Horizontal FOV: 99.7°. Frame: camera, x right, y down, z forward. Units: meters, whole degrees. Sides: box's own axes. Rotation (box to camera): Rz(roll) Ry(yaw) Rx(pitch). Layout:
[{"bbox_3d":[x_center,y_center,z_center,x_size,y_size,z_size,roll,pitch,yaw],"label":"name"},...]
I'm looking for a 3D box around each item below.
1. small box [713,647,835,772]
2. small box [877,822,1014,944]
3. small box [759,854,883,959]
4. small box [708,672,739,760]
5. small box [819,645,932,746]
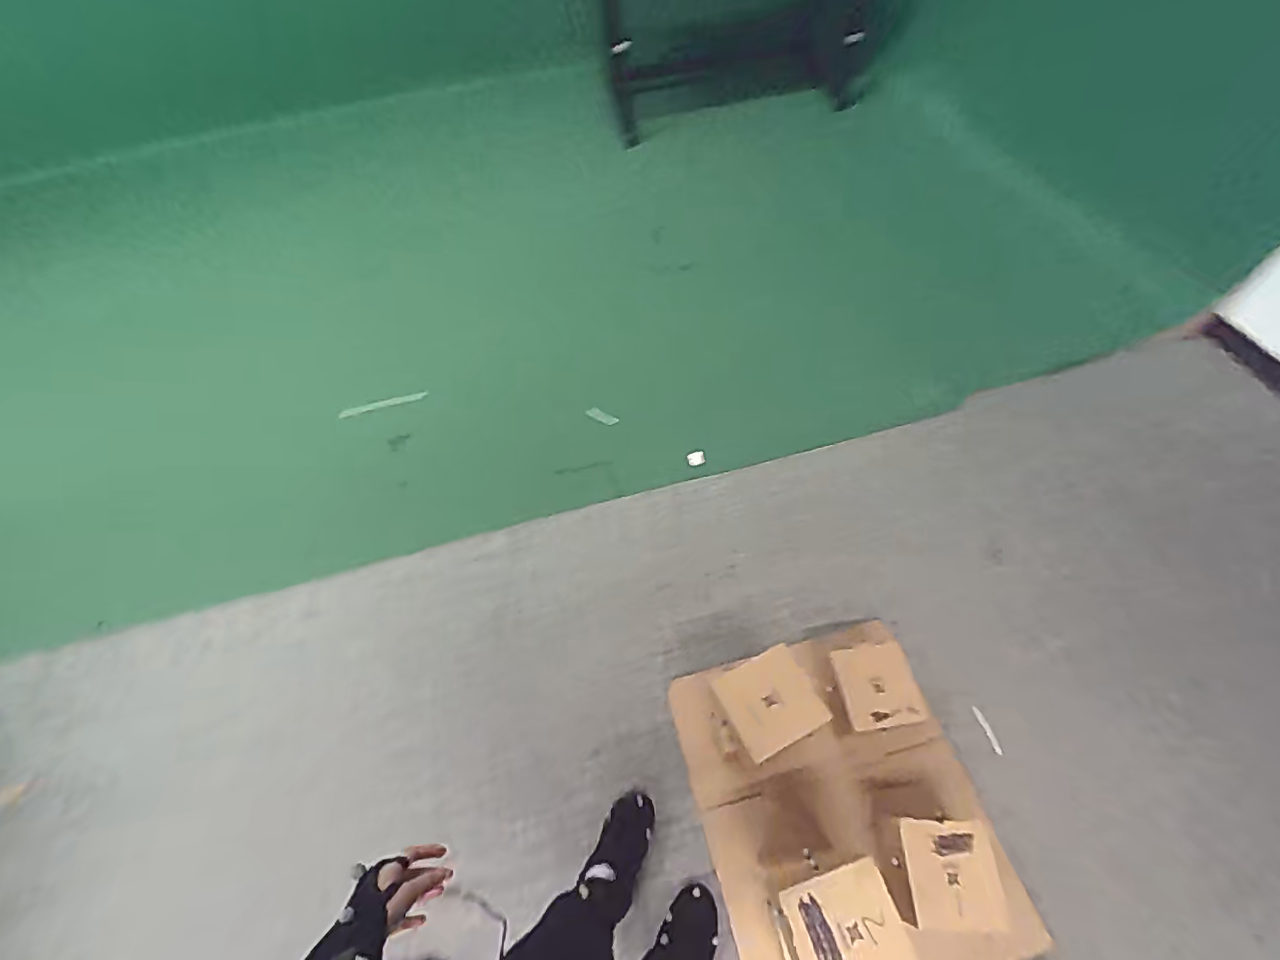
[{"bbox_3d":[0.262,0.471,1.105,0.179,0.176,0.168,-25,59,-10],"label":"small box"},{"bbox_3d":[0.588,0.784,1.070,0.168,0.176,0.179,-1,60,5],"label":"small box"},{"bbox_3d":[0.339,0.847,1.056,0.179,0.176,0.168,-10,58,-2],"label":"small box"},{"bbox_3d":[0.259,0.543,1.254,0.179,0.176,0.168,-10,59,-1],"label":"small box"},{"bbox_3d":[0.533,0.502,1.254,0.168,0.176,0.179,-8,57,-1],"label":"small box"}]
